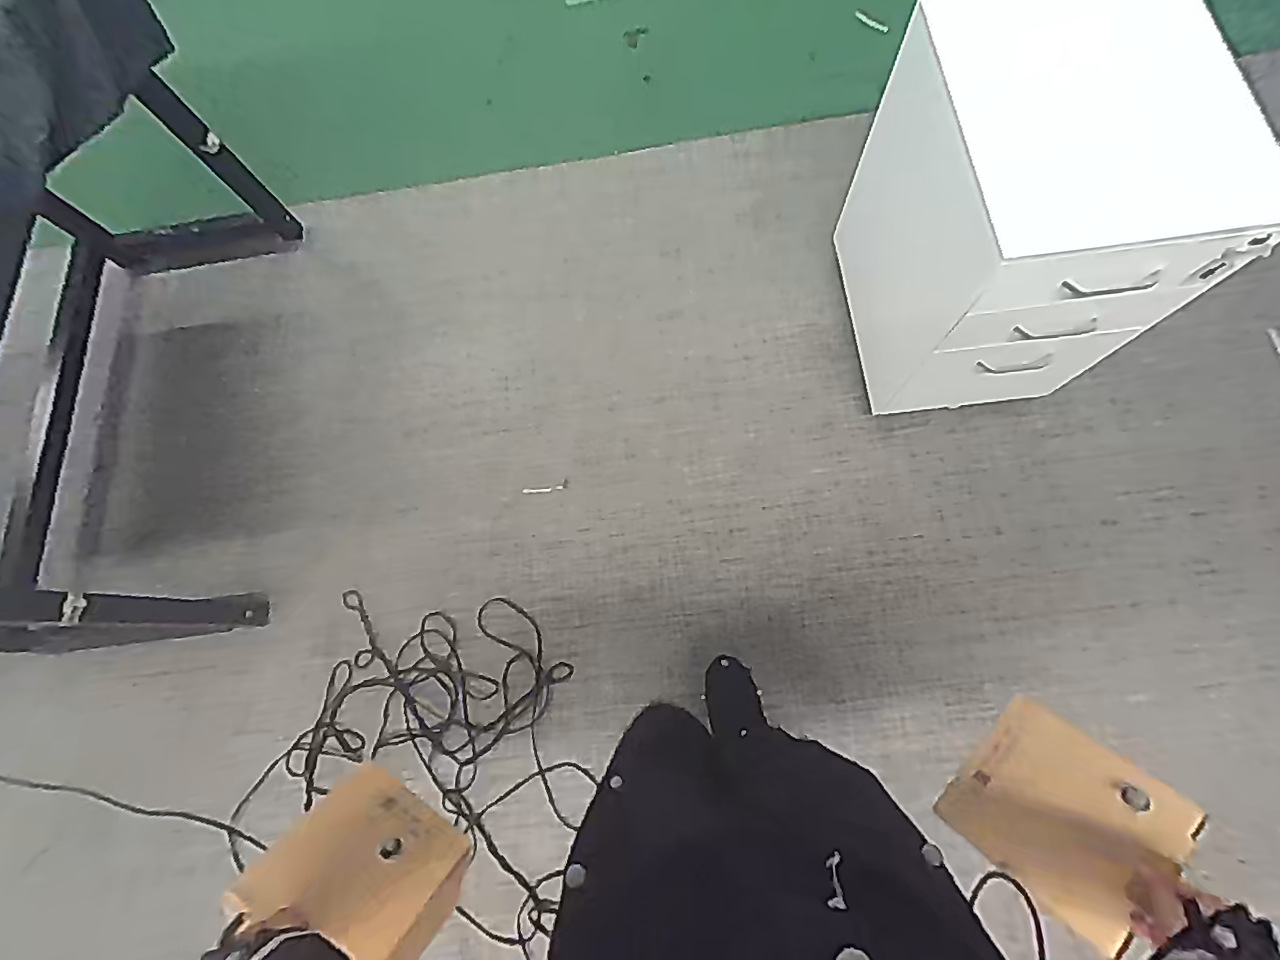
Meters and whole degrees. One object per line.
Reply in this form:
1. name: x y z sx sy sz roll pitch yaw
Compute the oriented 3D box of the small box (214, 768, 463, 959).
1. small box: -0.318 0.469 0.596 0.168 0.176 0.179 27 122 14
